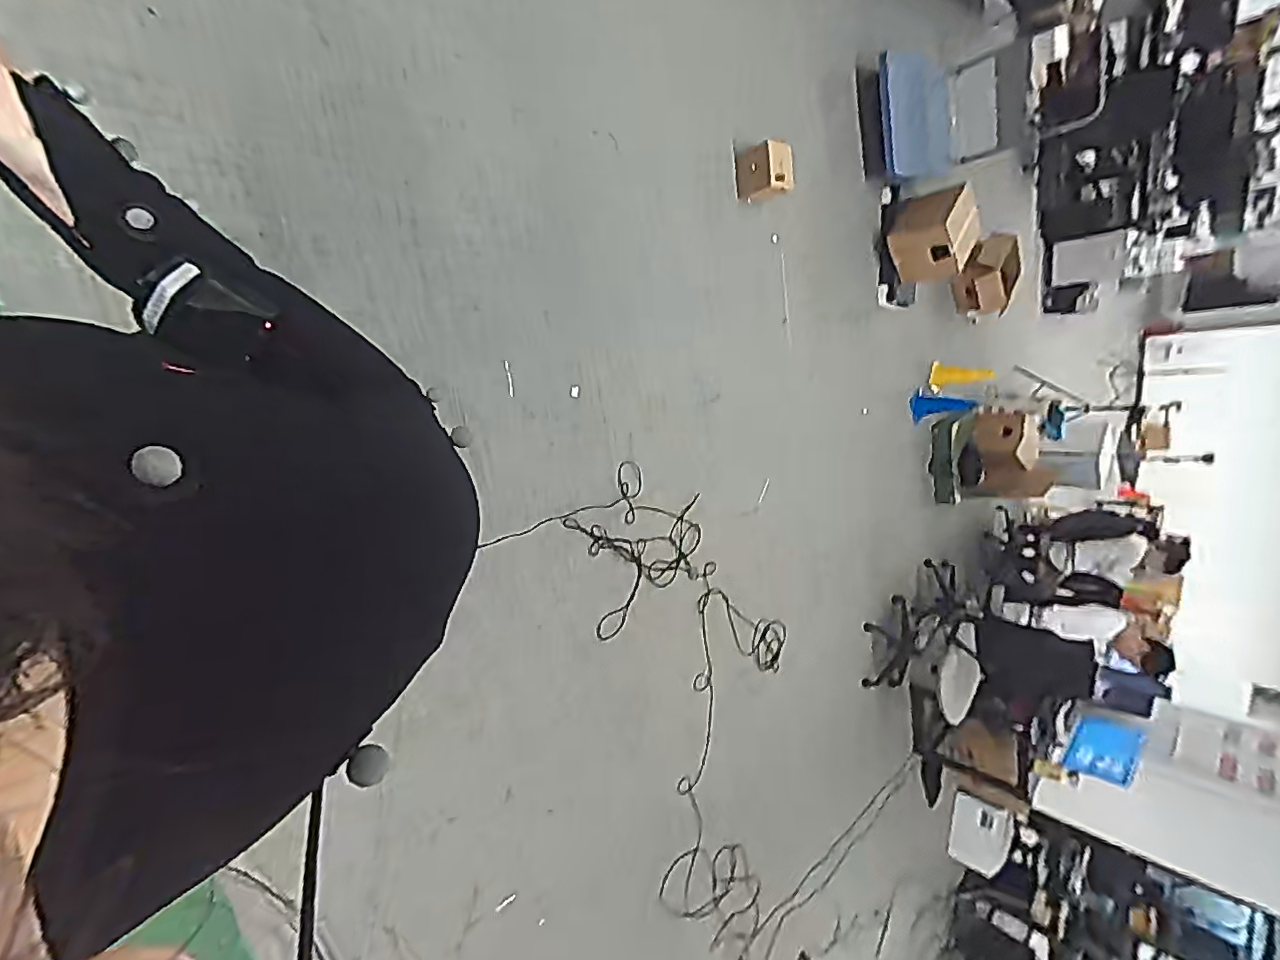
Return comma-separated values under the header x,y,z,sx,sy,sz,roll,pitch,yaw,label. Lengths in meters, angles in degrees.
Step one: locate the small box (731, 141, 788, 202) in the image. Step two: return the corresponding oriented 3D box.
x,y,z,sx,sy,sz,roll,pitch,yaw,label
0.502,-1.287,2.270,0.168,0.176,0.179,-18,106,-39,small box
